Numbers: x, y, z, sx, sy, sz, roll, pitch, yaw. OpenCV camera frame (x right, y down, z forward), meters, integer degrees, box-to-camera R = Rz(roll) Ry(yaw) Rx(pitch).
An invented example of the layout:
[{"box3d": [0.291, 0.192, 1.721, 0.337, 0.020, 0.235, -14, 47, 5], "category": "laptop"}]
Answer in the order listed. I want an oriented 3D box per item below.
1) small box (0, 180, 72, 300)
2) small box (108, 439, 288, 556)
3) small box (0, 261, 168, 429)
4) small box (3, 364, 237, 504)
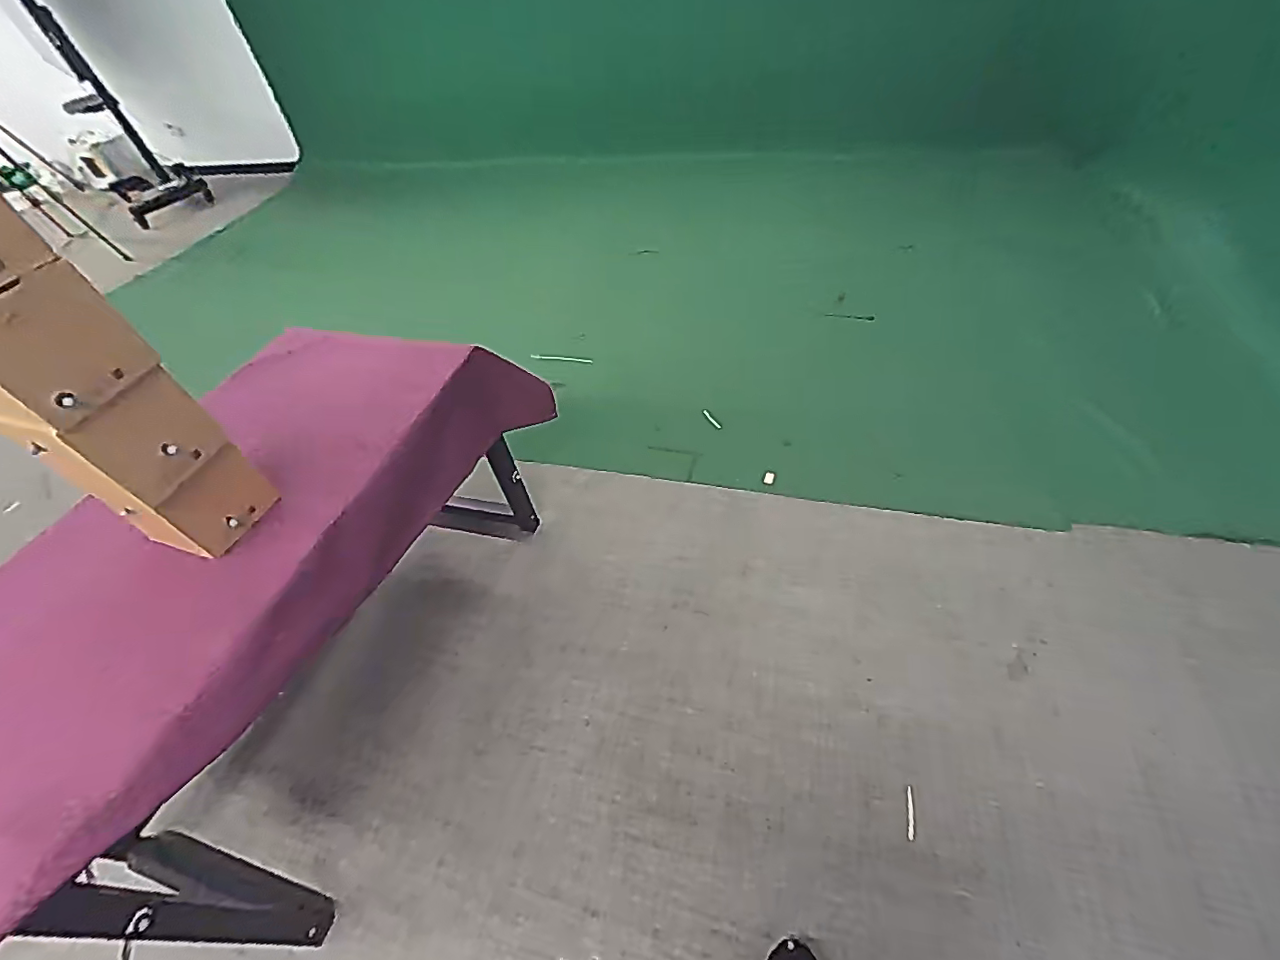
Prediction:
[{"box3d": [-0.859, -0.298, 0.634, 0.179, 0.176, 0.168, 11, 52, 20], "category": "small box"}, {"box3d": [-0.818, 0.020, 1.006, 0.179, 0.176, 0.168, 12, 52, 18], "category": "small box"}, {"box3d": [-0.834, -0.190, 0.755, 0.179, 0.176, 0.168, 10, 52, 19], "category": "small box"}, {"box3d": [-0.824, -0.081, 0.877, 0.179, 0.176, 0.168, 10, 52, 17], "category": "small box"}]
